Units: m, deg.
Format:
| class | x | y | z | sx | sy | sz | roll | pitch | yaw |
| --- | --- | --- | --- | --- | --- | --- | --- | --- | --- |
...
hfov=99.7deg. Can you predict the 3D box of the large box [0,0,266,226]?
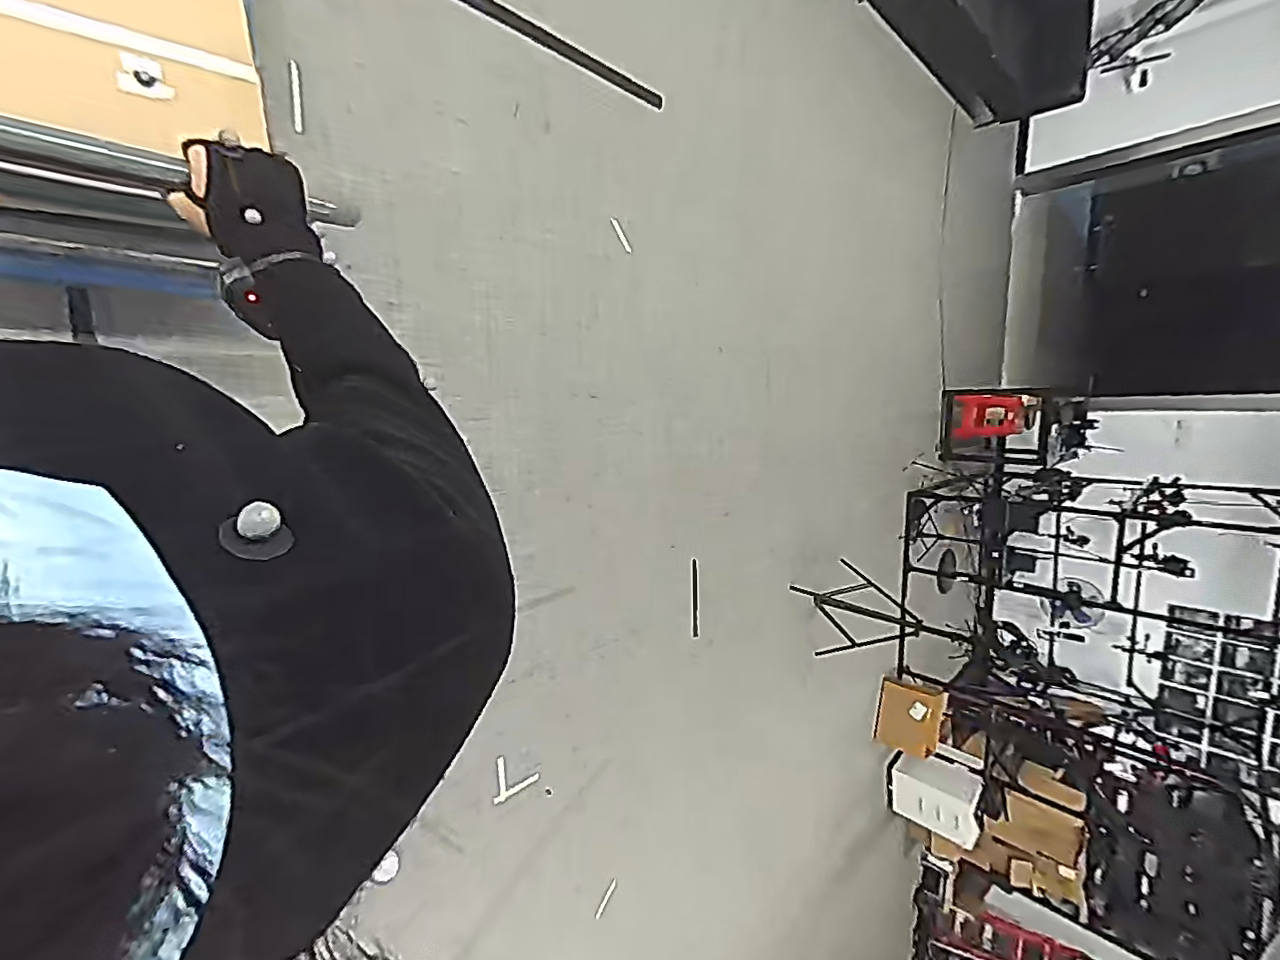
| class | x | y | z | sx | sy | sz | roll | pitch | yaw |
| --- | --- | --- | --- | --- | --- | --- | --- | --- | --- |
| large box | -0.845 | -0.598 | 0.792 | 0.408 | 0.320 | 0.320 | -13 | 105 | -44 |
